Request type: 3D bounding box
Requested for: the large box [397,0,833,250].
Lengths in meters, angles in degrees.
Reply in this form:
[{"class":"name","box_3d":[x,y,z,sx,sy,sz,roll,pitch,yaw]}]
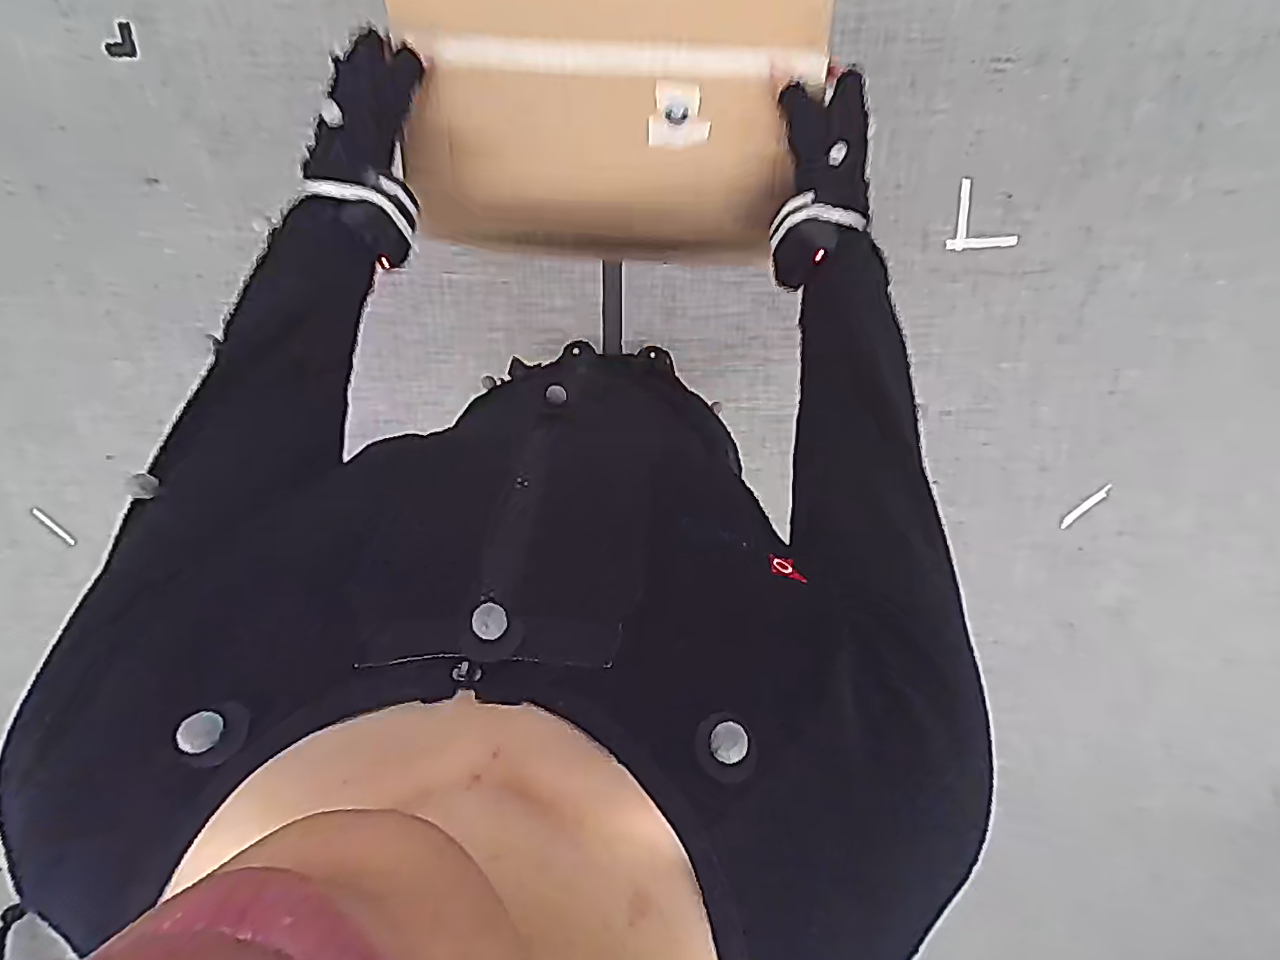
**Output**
[{"class":"large box","box_3d":[-0.025,-0.455,0.638,0.408,0.320,0.320,3,110,-1]}]
